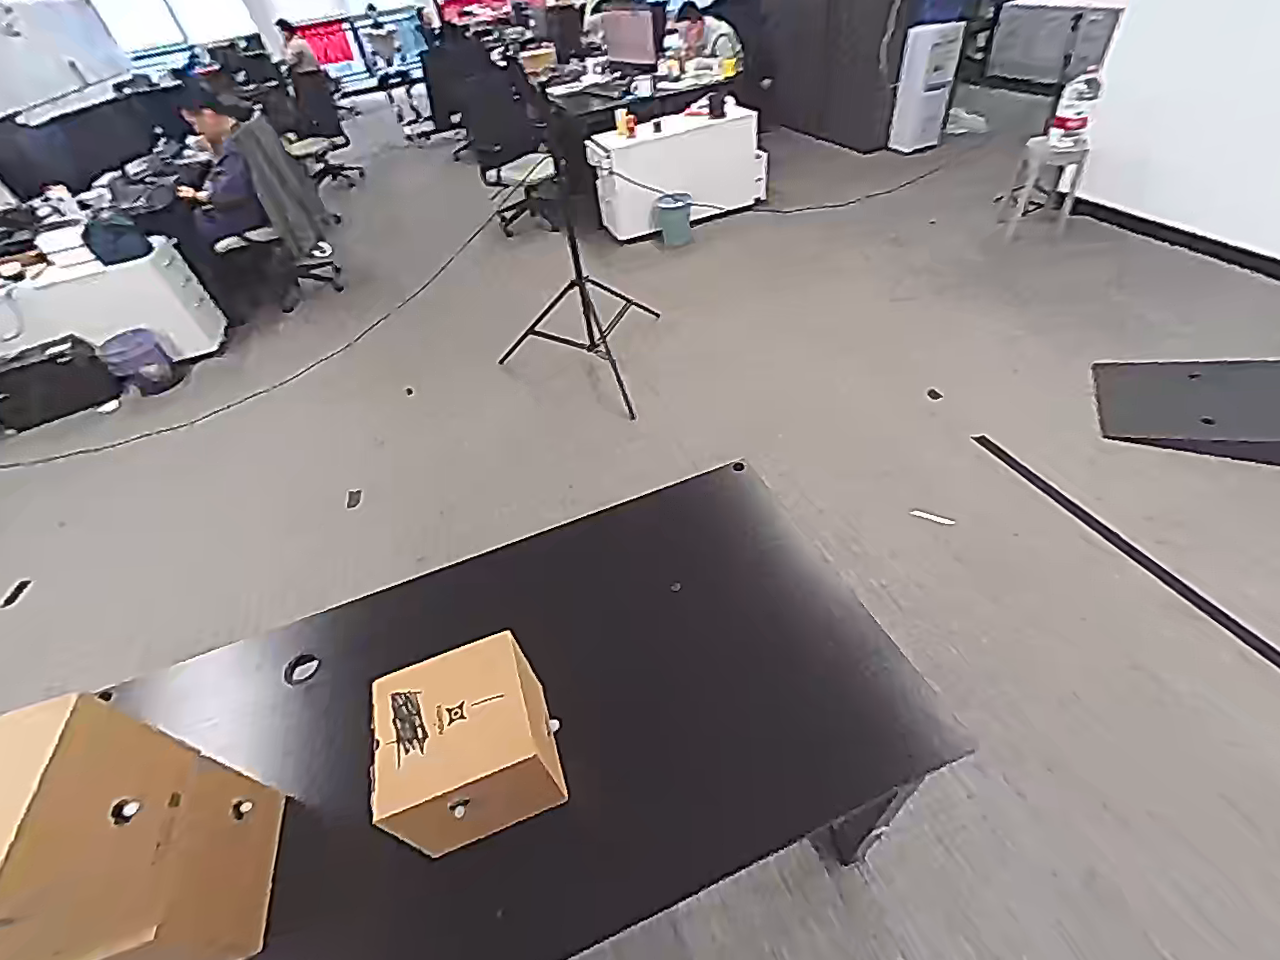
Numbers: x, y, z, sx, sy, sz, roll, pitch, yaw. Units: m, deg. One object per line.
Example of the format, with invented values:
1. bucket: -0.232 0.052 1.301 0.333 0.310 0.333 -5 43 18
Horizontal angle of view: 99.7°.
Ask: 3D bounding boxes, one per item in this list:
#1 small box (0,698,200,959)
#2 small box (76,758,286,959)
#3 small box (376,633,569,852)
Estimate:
1. small box: -0.566 0.338 0.501 0.179 0.176 0.168 -18 45 -7
2. small box: -0.539 0.457 0.613 0.168 0.176 0.179 -18 46 -7
3. small box: -0.206 0.330 0.678 0.179 0.176 0.168 -19 45 -10
